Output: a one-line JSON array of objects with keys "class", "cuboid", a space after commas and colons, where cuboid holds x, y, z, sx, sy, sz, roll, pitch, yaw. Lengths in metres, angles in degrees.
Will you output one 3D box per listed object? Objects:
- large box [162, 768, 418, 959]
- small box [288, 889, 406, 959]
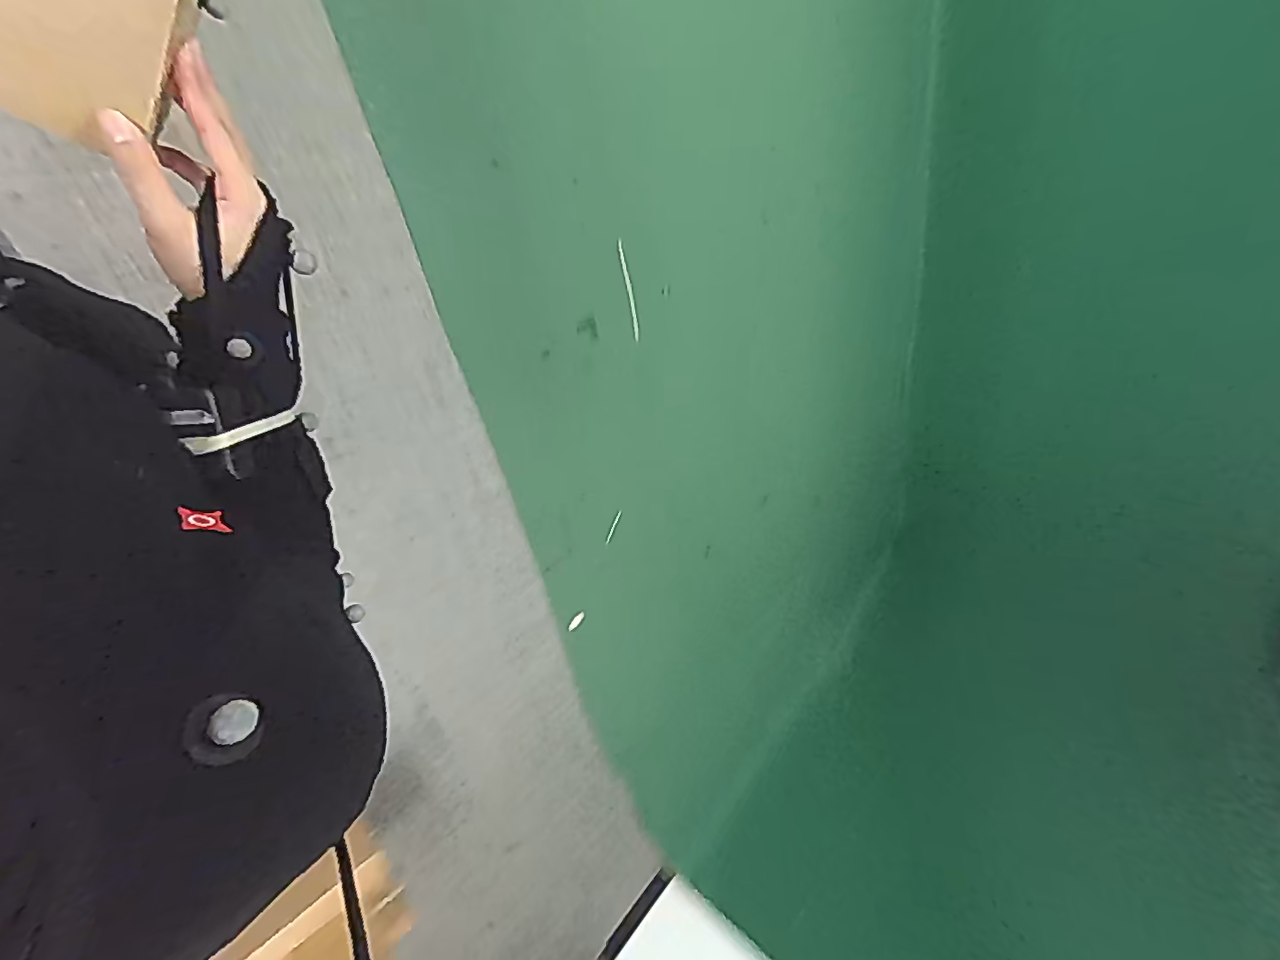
[{"class": "large box", "cuboid": [-0.834, 1.019, 1.317, 0.408, 0.320, 0.320, -30, 123, -35]}, {"class": "small box", "cuboid": [-0.632, 1.061, 1.183, 0.179, 0.176, 0.168, -24, 121, -39]}]
